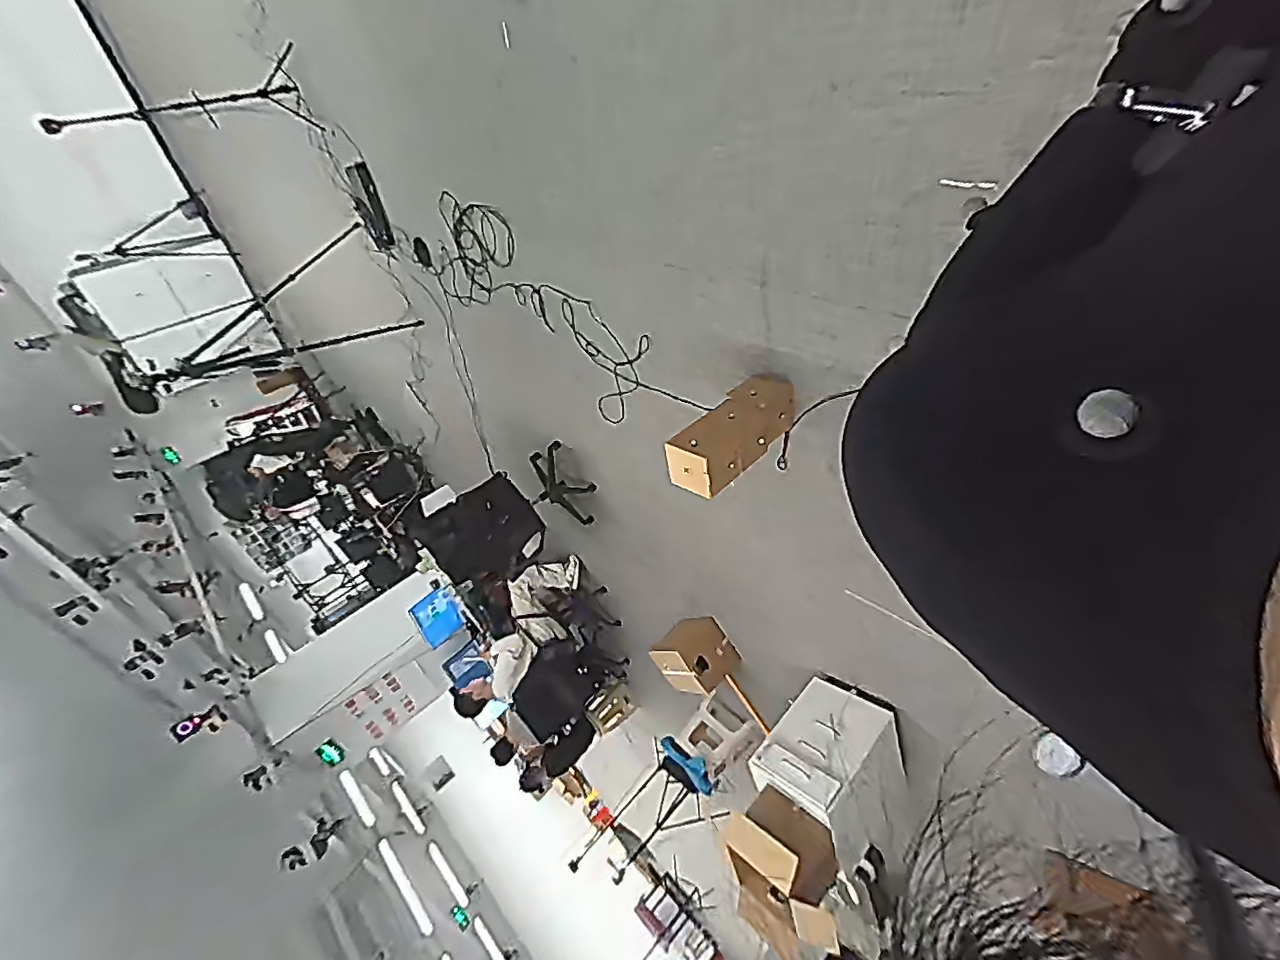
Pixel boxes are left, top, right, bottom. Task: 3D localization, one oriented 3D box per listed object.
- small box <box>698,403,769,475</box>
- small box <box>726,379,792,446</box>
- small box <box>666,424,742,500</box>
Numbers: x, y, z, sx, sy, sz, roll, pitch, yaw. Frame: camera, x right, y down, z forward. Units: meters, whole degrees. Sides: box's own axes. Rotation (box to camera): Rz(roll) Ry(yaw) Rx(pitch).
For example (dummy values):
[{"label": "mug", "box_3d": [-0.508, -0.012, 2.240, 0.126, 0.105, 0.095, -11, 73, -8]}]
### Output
[{"label": "small box", "box_3d": [0.326, -0.148, 1.870, 0.179, 0.176, 0.168, 25, 140, 39]}, {"label": "small box", "box_3d": [0.435, -0.248, 1.942, 0.179, 0.176, 0.168, 23, 138, 43]}, {"label": "small box", "box_3d": [0.214, -0.068, 1.783, 0.179, 0.176, 0.168, 24, 139, 40]}]
